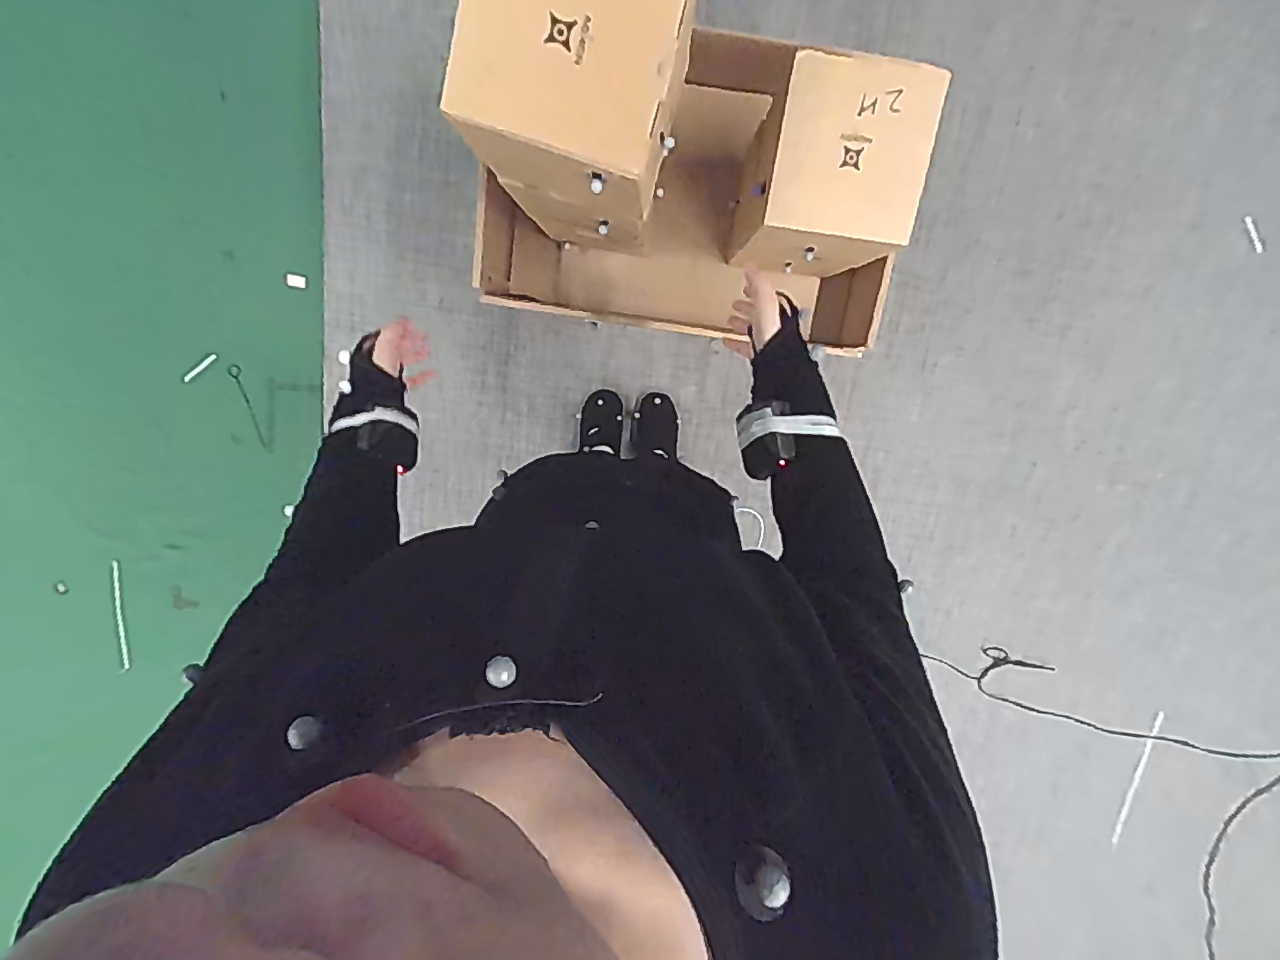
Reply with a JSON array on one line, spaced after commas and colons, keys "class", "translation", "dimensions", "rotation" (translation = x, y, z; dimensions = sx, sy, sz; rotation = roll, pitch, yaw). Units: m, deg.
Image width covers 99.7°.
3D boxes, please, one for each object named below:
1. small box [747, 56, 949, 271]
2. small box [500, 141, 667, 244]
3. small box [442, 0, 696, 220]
[{"class": "small box", "translation": [0.235, -0.367, 0.663], "dimensions": [0.168, 0.176, 0.179], "rotation": [10, 103, 0]}, {"class": "small box", "translation": [-0.058, -0.411, 0.669], "dimensions": [0.168, 0.176, 0.179], "rotation": [14, 103, -2]}, {"class": "small box", "translation": [-0.058, -0.369, 0.512], "dimensions": [0.179, 0.176, 0.168], "rotation": [17, 103, -4]}]
